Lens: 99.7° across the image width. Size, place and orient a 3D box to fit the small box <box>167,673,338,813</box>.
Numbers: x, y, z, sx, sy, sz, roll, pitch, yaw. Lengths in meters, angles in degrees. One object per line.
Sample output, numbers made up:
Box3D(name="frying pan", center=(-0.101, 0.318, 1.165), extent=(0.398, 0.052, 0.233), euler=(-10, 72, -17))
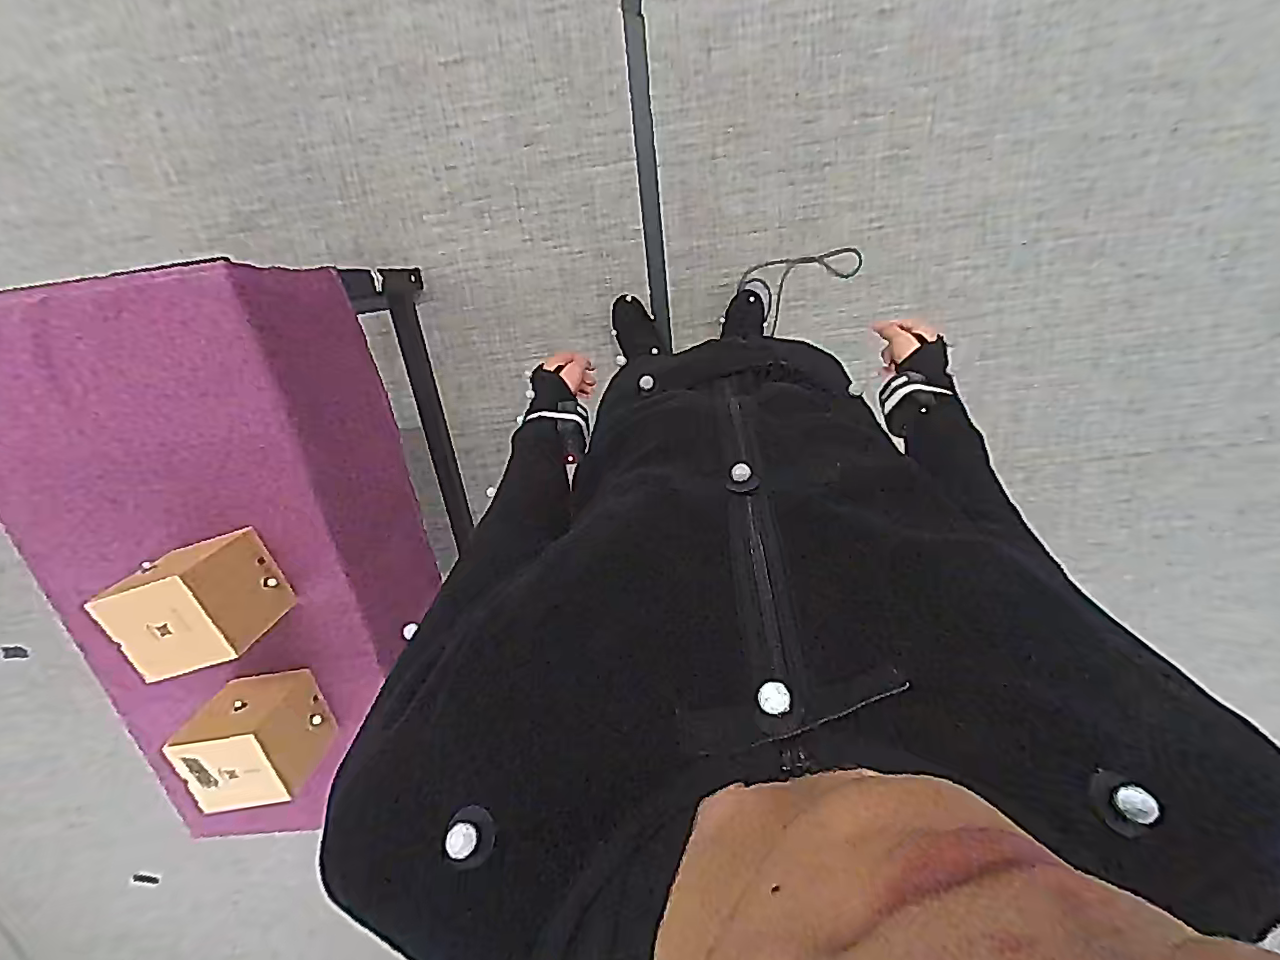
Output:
Box3D(name="small box", center=(-0.729, 0.499, 1.040), extent=(0.179, 0.176, 0.168), euler=(-10, 111, 5))

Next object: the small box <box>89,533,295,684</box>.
Box3D(name="small box", center=(-0.751, 0.215, 0.929), extent=(0.179, 0.176, 0.168), euler=(-16, 111, 9))
